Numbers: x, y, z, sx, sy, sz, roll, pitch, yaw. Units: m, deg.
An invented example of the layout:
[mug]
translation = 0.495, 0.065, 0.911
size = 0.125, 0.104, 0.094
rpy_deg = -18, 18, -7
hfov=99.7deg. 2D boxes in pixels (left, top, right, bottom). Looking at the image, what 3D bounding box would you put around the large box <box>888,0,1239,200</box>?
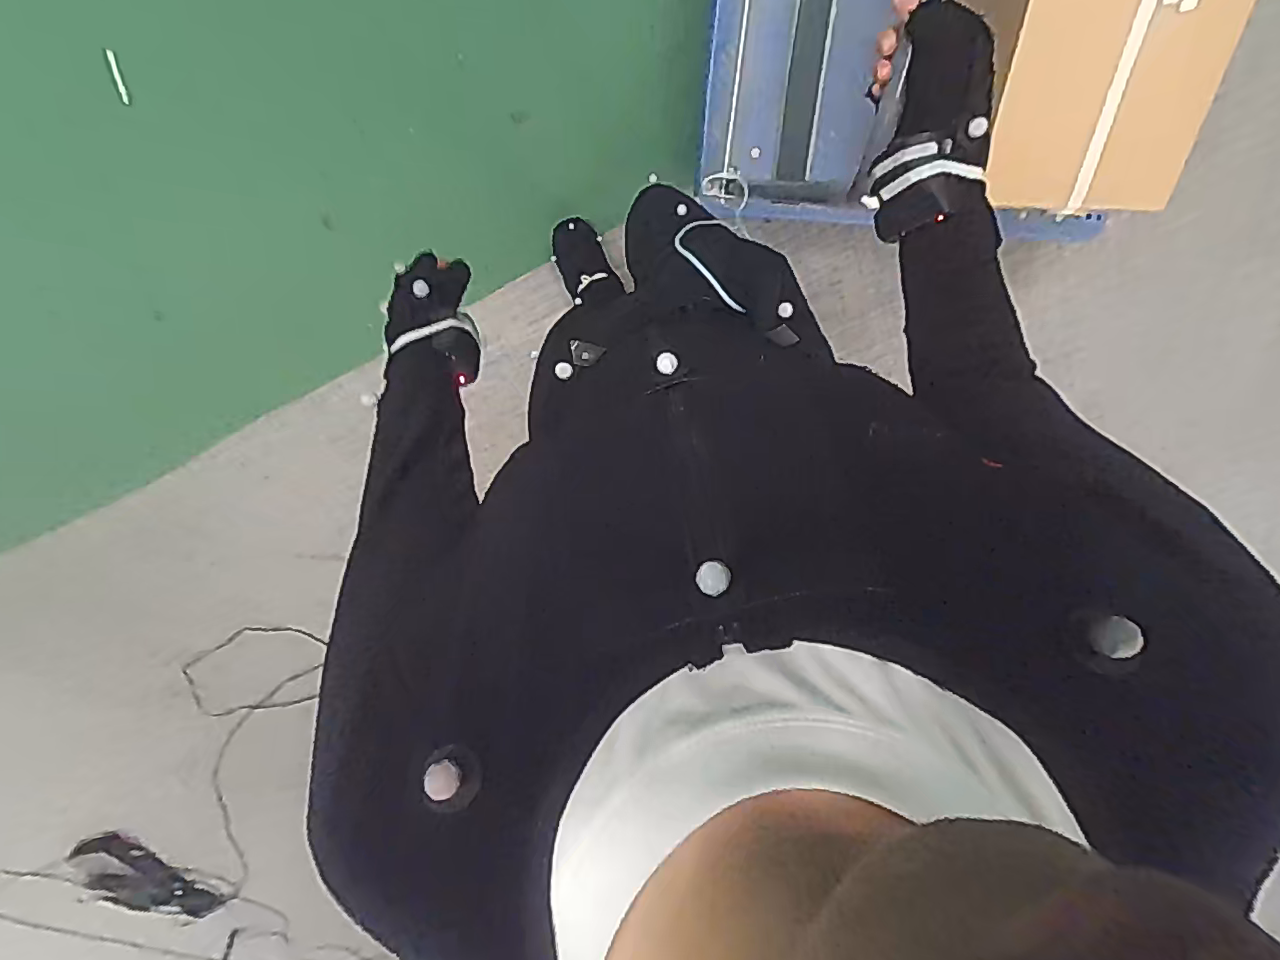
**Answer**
[large box]
translation = 0.659, -0.685, 0.882
size = 0.320, 0.320, 0.408
rpy_deg = 1, 117, -4
